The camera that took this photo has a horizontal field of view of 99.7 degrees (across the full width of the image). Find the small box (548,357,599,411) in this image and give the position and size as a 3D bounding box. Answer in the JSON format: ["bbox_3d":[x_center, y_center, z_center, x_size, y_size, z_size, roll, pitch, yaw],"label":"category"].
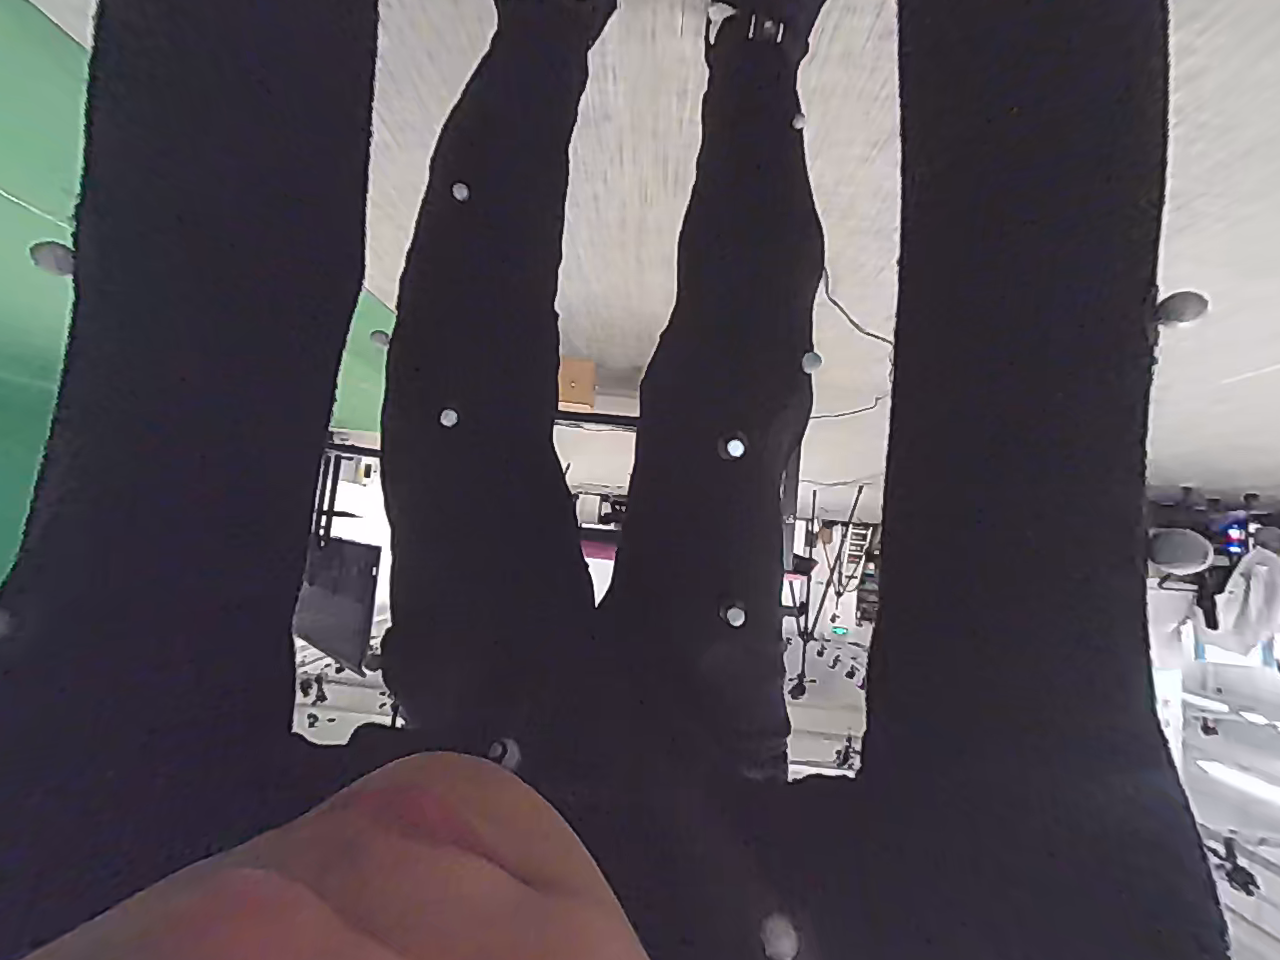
[{"bbox_3d":[-0.254,-0.374,2.102,0.179,0.176,0.168,6,175,0],"label":"small box"}]
